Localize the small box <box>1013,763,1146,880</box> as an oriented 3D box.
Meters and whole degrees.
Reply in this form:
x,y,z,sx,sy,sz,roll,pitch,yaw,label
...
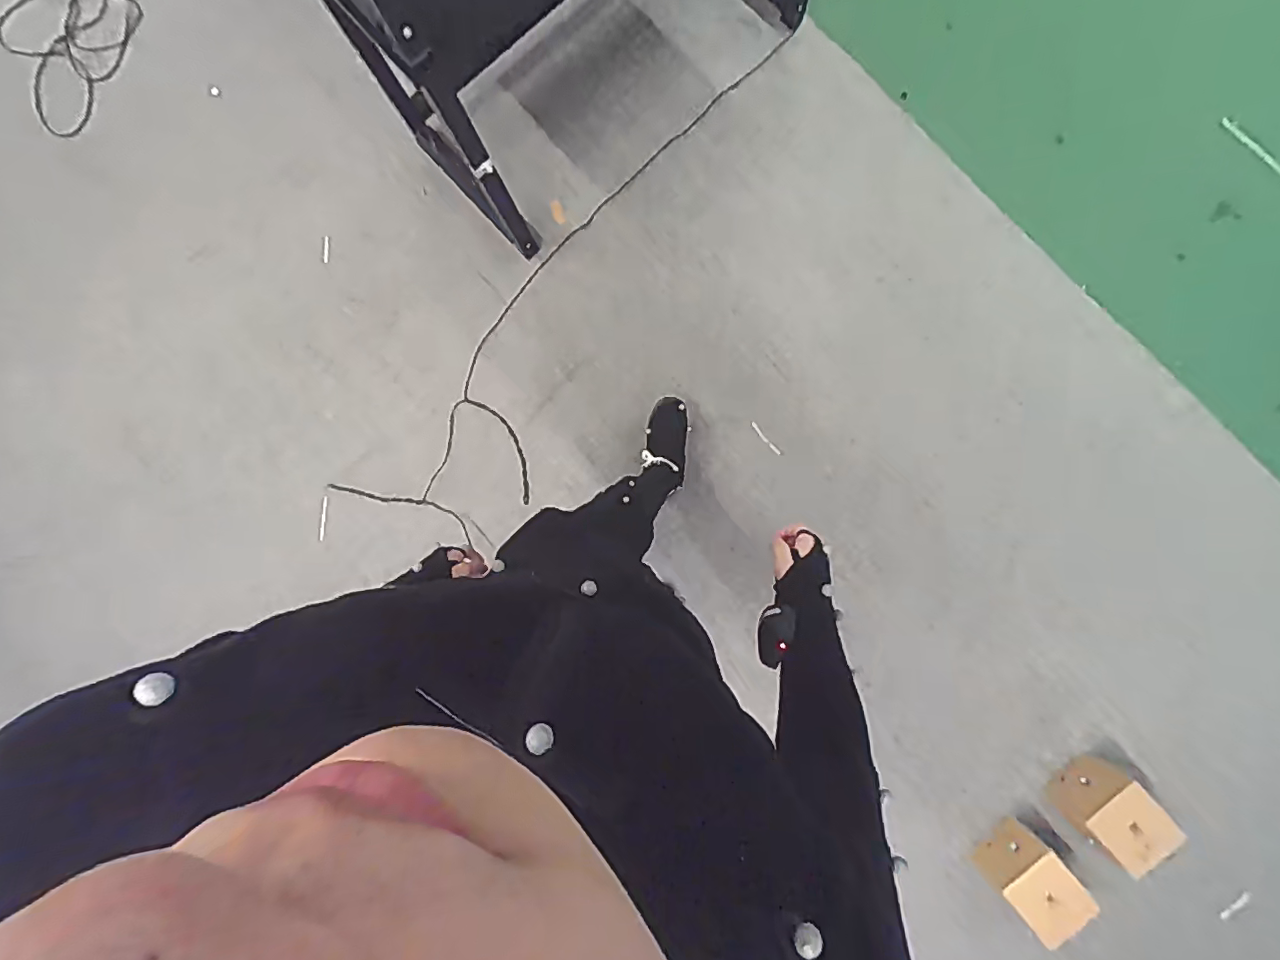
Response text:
x,y,z,sx,sy,sz,roll,pitch,yaw,label
1.147,0.885,1.429,0.168,0.176,0.179,-38,86,0,small box
